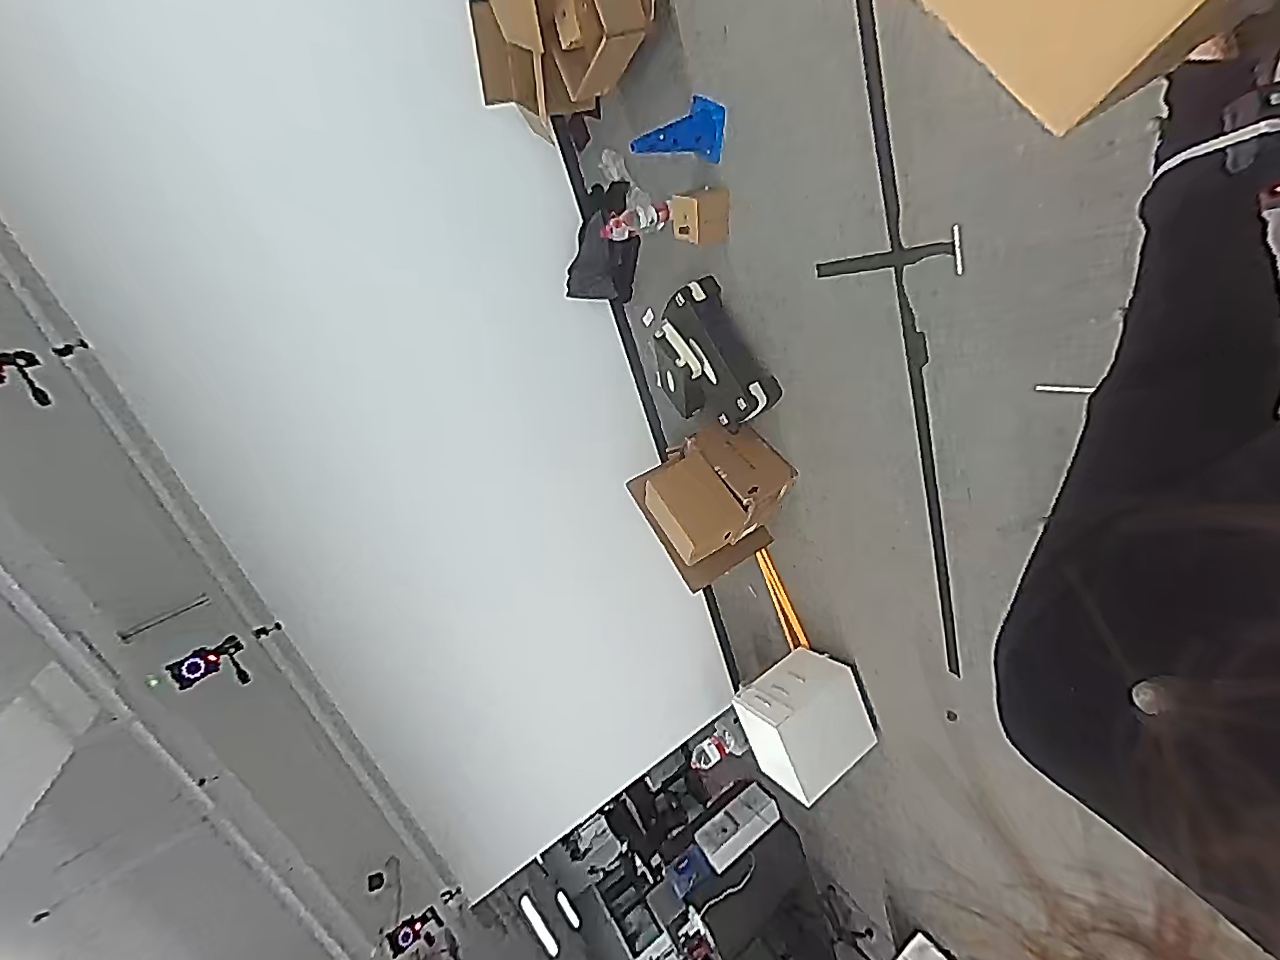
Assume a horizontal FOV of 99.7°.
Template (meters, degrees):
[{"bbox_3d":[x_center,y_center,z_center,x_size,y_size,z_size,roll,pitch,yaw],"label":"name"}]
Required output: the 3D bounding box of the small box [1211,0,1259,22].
[{"bbox_3d":[0.356,-0.396,0.305,0.179,0.176,0.168,53,156,5],"label":"small box"}]

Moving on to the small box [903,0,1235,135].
[{"bbox_3d":[0.234,-0.308,0.242,0.179,0.176,0.168,53,156,8],"label":"small box"}]
